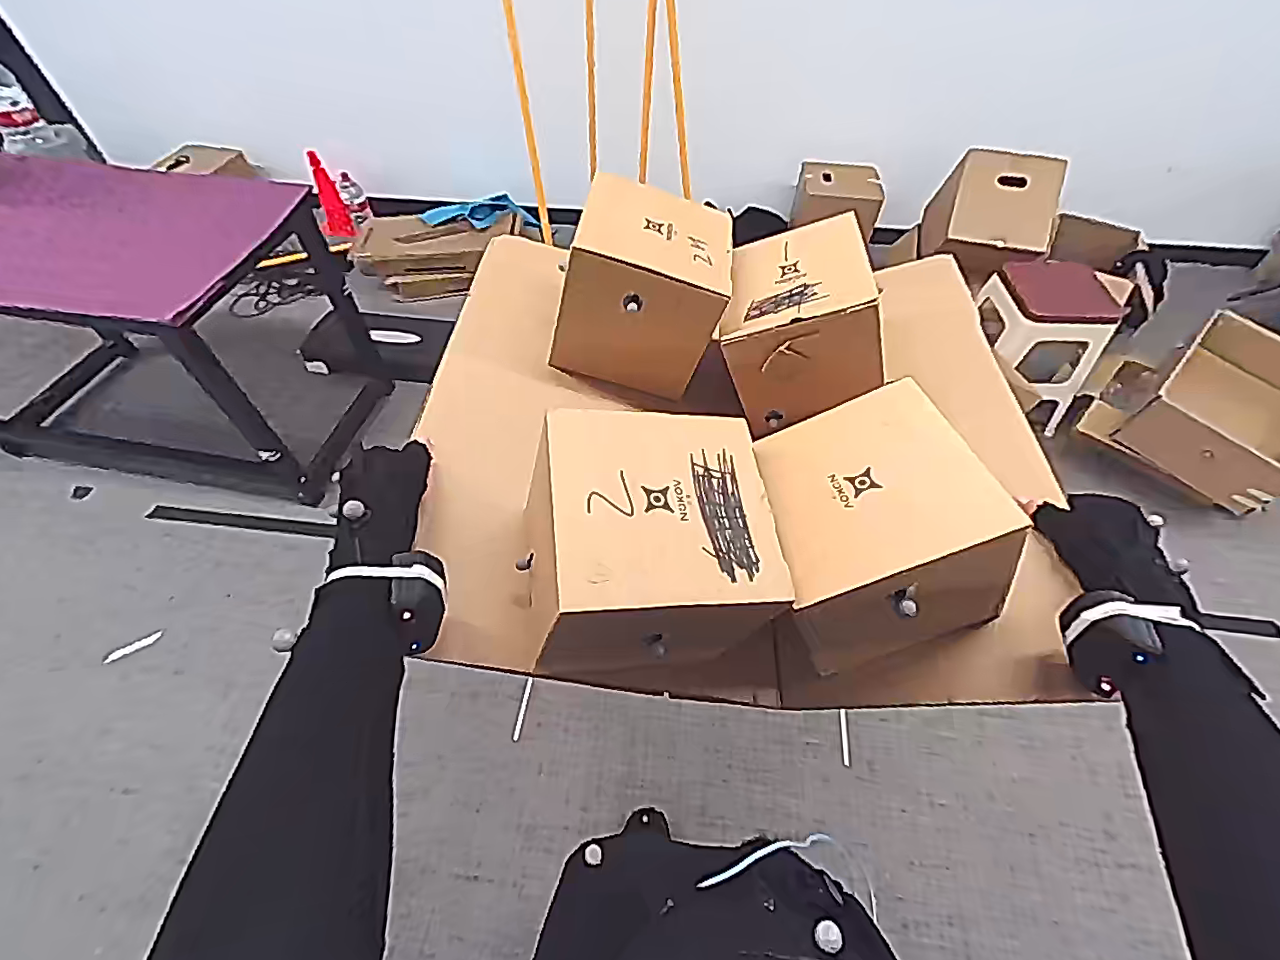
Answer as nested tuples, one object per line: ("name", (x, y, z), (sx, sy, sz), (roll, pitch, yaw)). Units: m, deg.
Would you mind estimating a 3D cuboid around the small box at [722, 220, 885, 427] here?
("small box", (0.206, -0.184, 0.684), (0.168, 0.176, 0.179), (-9, 50, 21))
